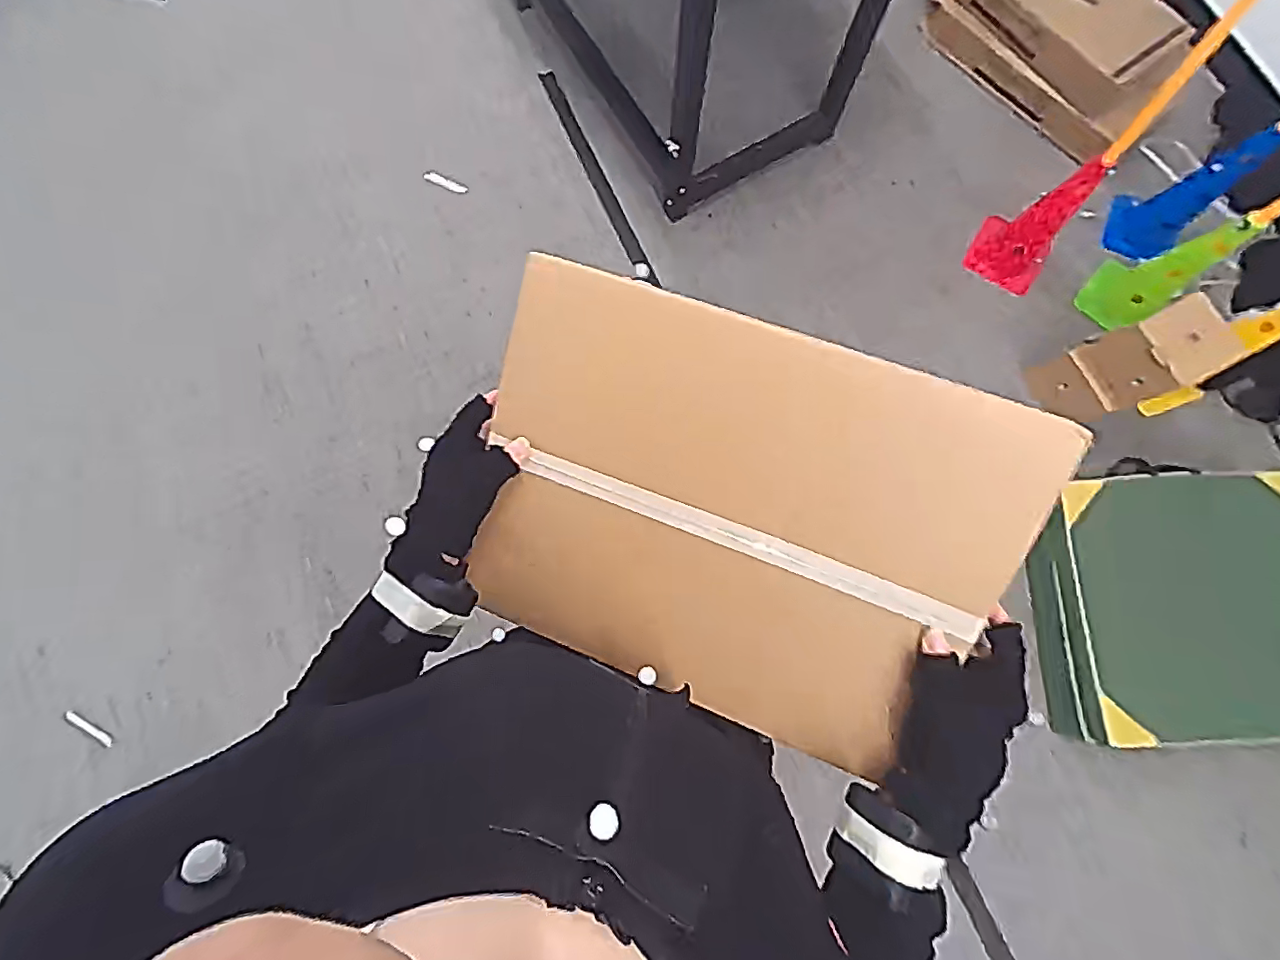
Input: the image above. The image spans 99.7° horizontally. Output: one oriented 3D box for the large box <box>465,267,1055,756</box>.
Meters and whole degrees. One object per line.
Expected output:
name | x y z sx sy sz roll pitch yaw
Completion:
large box | 0.090 -0.003 0.578 0.408 0.320 0.320 20 109 9
